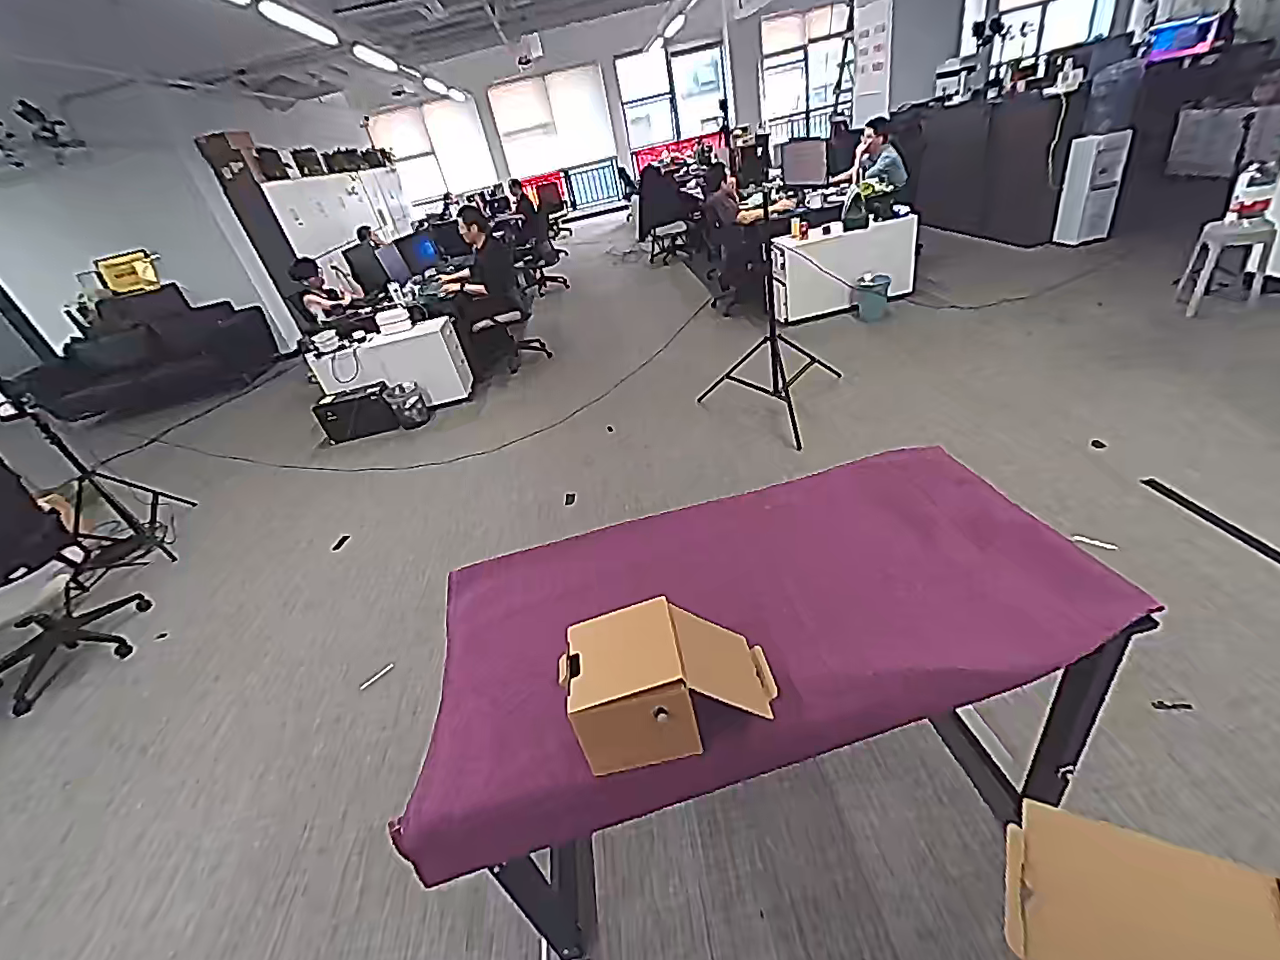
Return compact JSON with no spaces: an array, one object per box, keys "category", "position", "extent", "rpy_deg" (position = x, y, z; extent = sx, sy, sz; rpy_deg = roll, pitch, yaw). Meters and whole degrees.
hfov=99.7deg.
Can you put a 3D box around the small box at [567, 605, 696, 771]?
[{"category":"small box","position":[-0.012,0.334,0.871],"extent":[0.179,0.176,0.168],"rpy_deg":[-13,32,1]}]
